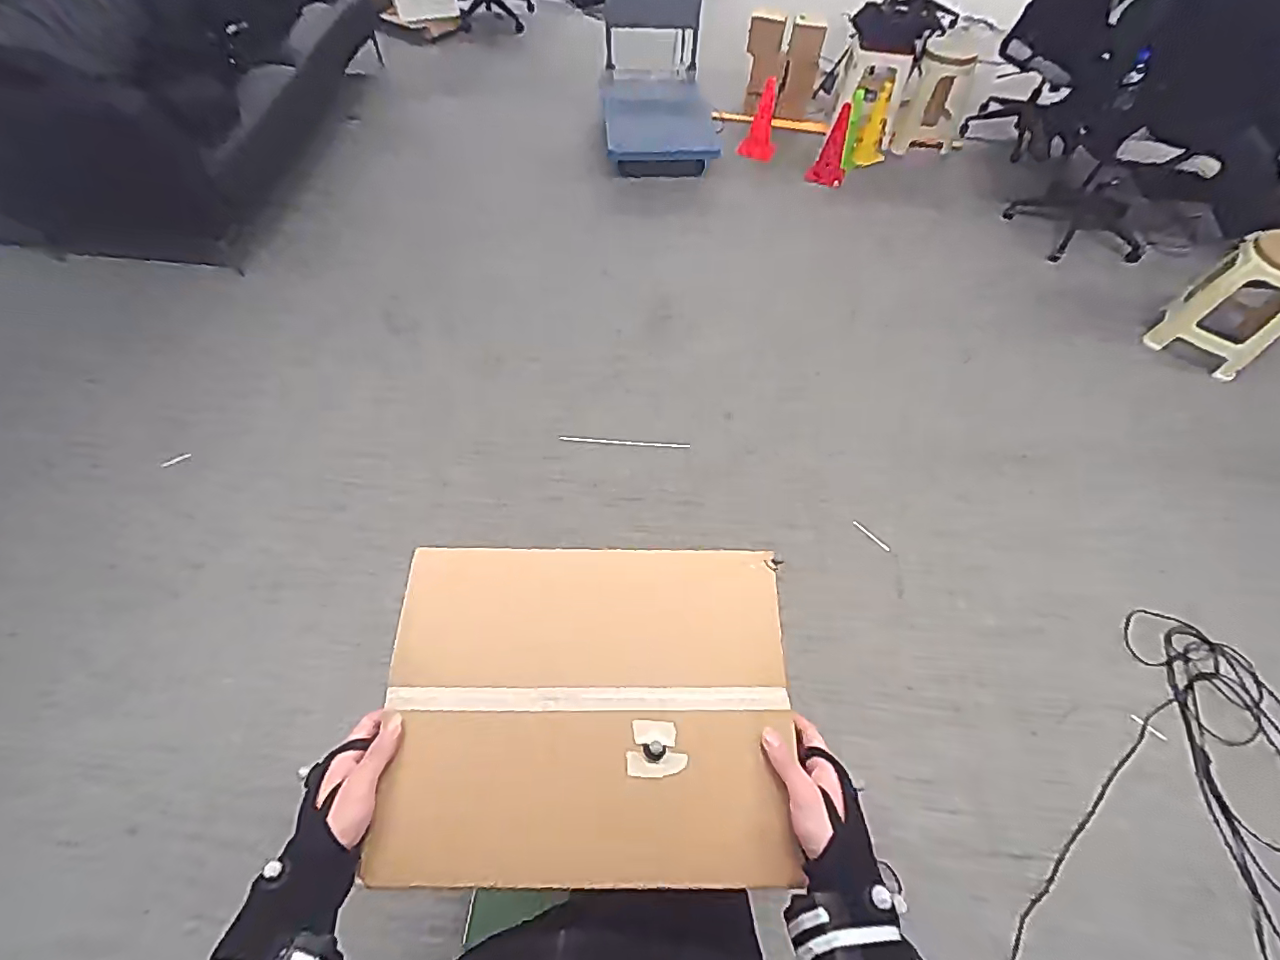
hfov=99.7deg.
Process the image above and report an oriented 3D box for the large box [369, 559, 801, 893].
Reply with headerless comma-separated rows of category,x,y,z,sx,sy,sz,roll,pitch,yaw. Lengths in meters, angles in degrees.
large box,-0.055,0.296,0.688,0.408,0.320,0.320,0,65,-1
